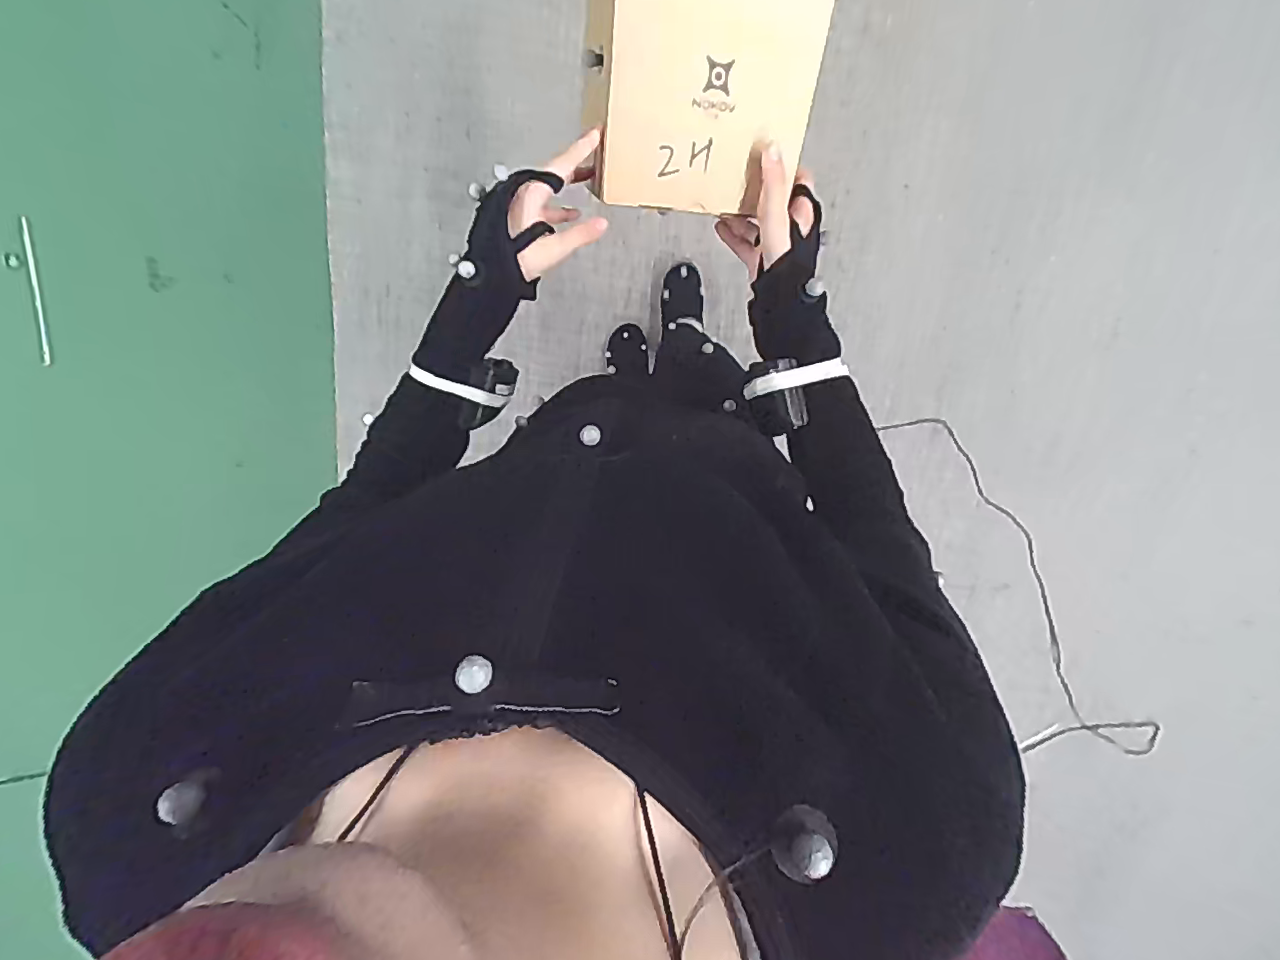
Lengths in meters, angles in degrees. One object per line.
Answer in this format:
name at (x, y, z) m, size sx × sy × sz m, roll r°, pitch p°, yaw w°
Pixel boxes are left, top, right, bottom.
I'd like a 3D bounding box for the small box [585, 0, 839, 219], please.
small box at (0.044, -0.346, 0.474) m, size 0.168 × 0.176 × 0.179 m, roll 0°, pitch 126°, yaw -12°
